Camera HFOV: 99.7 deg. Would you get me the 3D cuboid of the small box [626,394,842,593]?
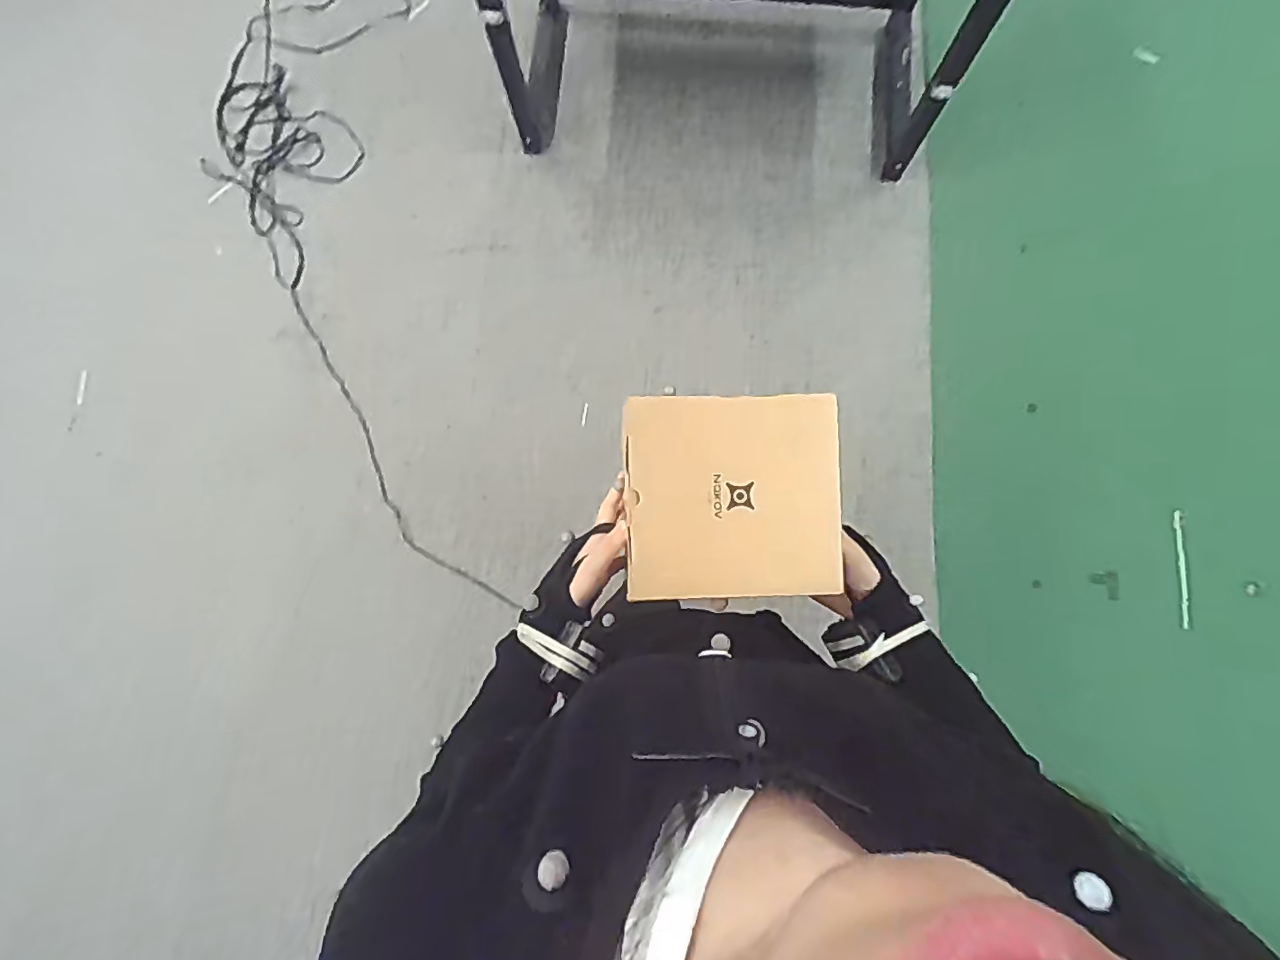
[{"bbox_3d":[0.076,0.012,0.523,0.179,0.176,0.168,-1,88,-1],"label":"small box"}]
